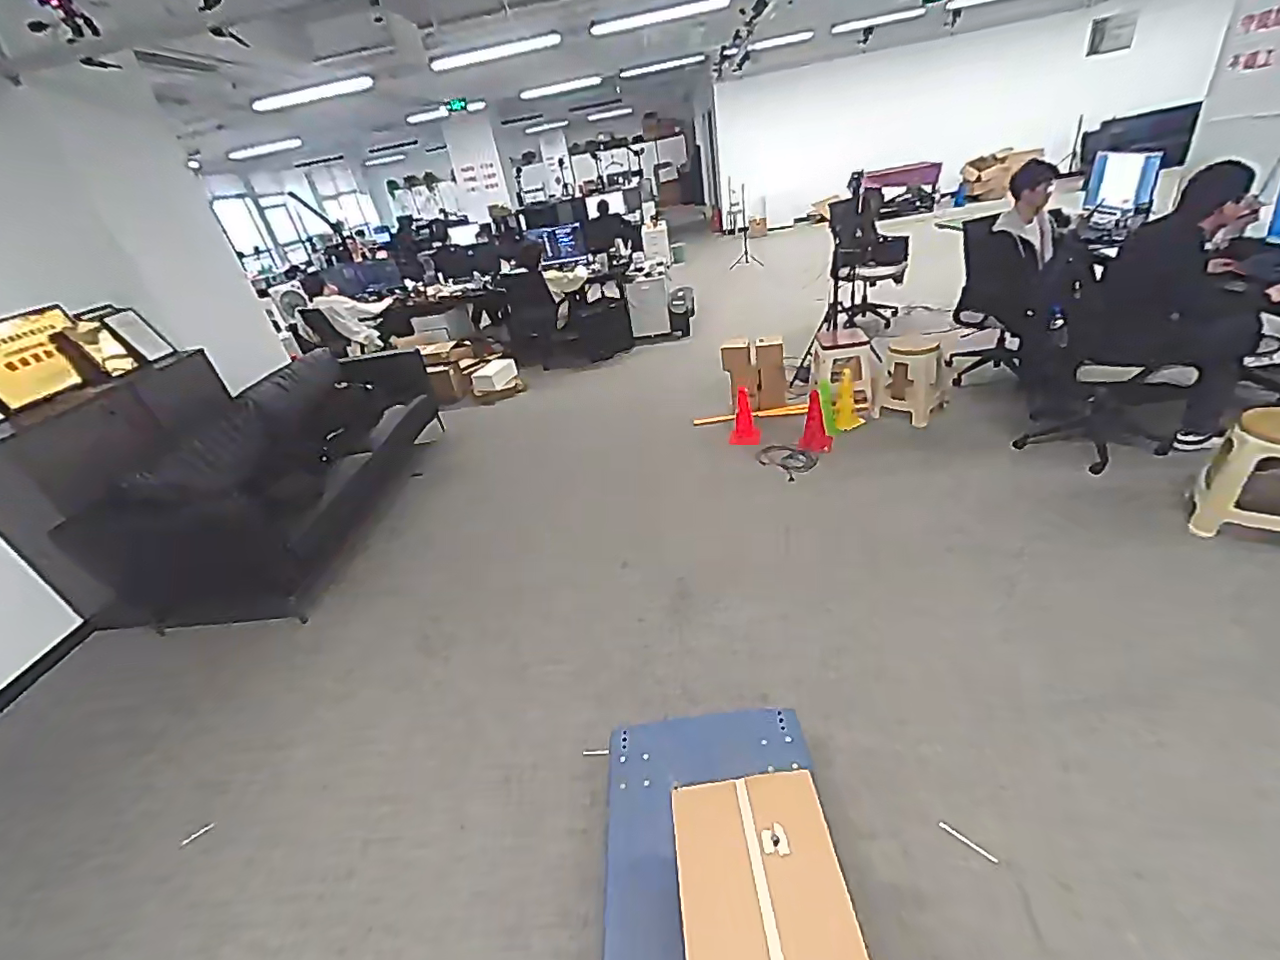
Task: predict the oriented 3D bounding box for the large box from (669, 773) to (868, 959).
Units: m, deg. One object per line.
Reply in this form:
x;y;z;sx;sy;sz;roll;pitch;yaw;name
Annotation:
0.251;0.897;1.101;0.320;0.320;0.408;-9;30;2;large box
